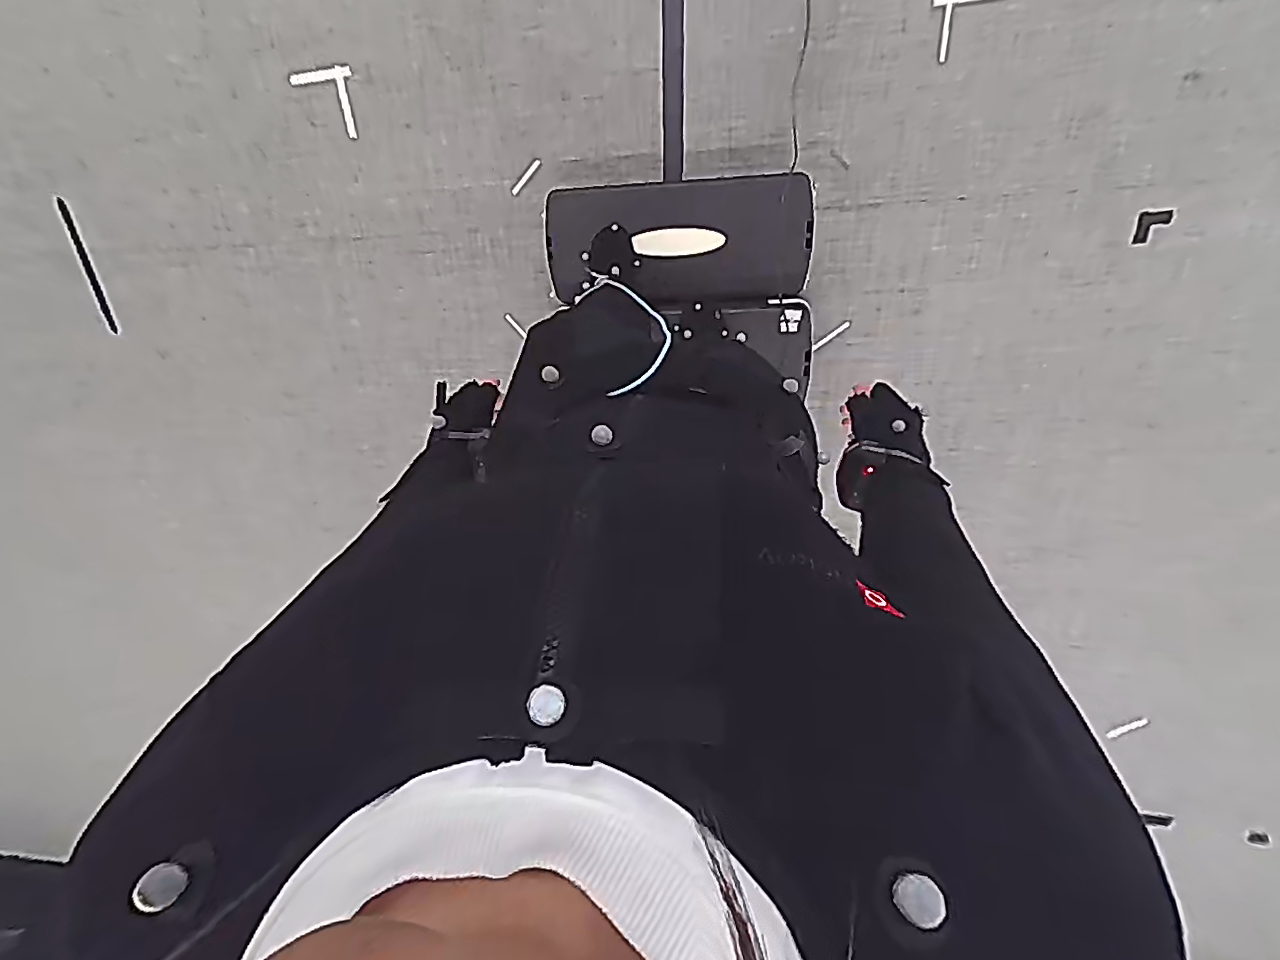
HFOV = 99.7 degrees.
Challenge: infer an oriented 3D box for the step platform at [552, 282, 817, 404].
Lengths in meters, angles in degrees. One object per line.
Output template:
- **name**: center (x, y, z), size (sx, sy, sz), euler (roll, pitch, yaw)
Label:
- **step platform**: center (0.113, -0.358, 1.435), size (0.684, 0.204, 0.286), euler (0, 112, 10)
